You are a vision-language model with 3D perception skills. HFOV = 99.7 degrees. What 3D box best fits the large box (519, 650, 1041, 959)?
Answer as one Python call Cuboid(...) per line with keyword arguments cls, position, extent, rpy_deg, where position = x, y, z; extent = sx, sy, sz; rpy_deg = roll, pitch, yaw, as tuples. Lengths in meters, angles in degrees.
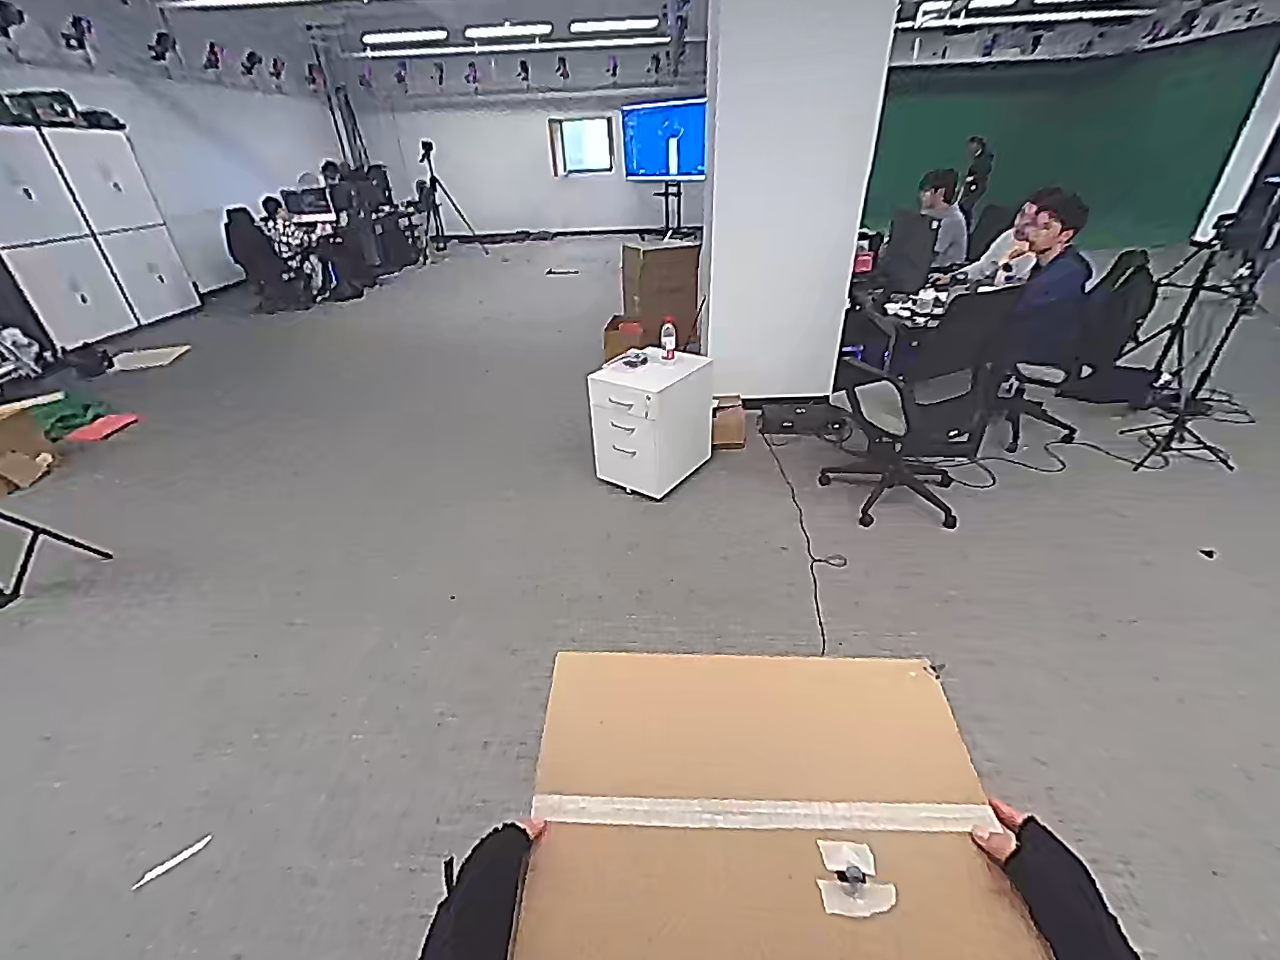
Cuboid(cls="large box", position=(0.108, 0.406, 0.588), extent=(0.408, 0.320, 0.320), rpy_deg=(1, 42, 2))
